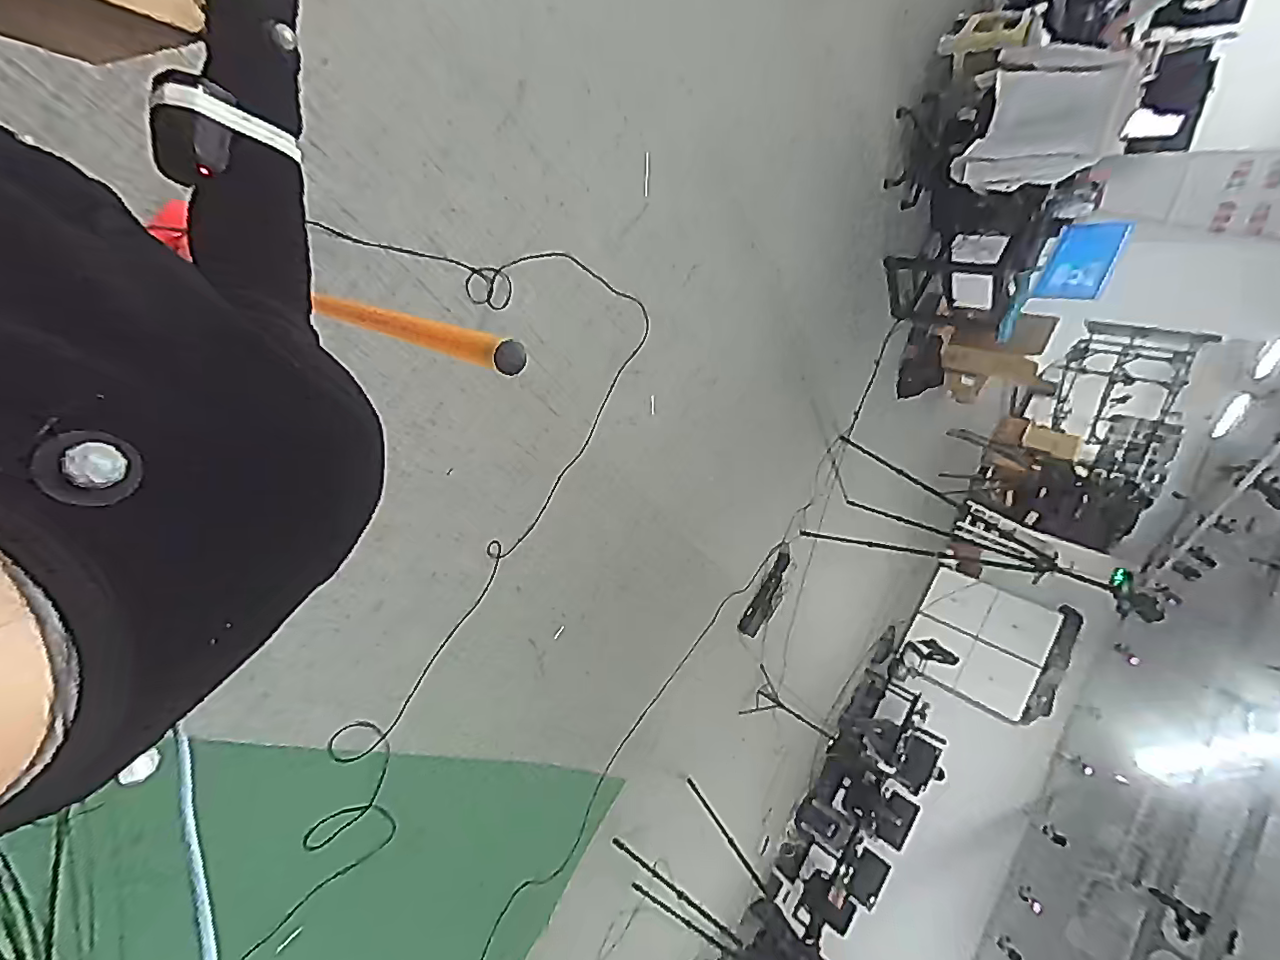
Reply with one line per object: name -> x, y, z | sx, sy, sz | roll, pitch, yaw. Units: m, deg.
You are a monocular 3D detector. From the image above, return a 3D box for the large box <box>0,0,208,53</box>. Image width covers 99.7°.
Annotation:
large box -> -0.526, -0.481, 0.272 | 0.408, 0.320, 0.320 | -16, 122, -51
